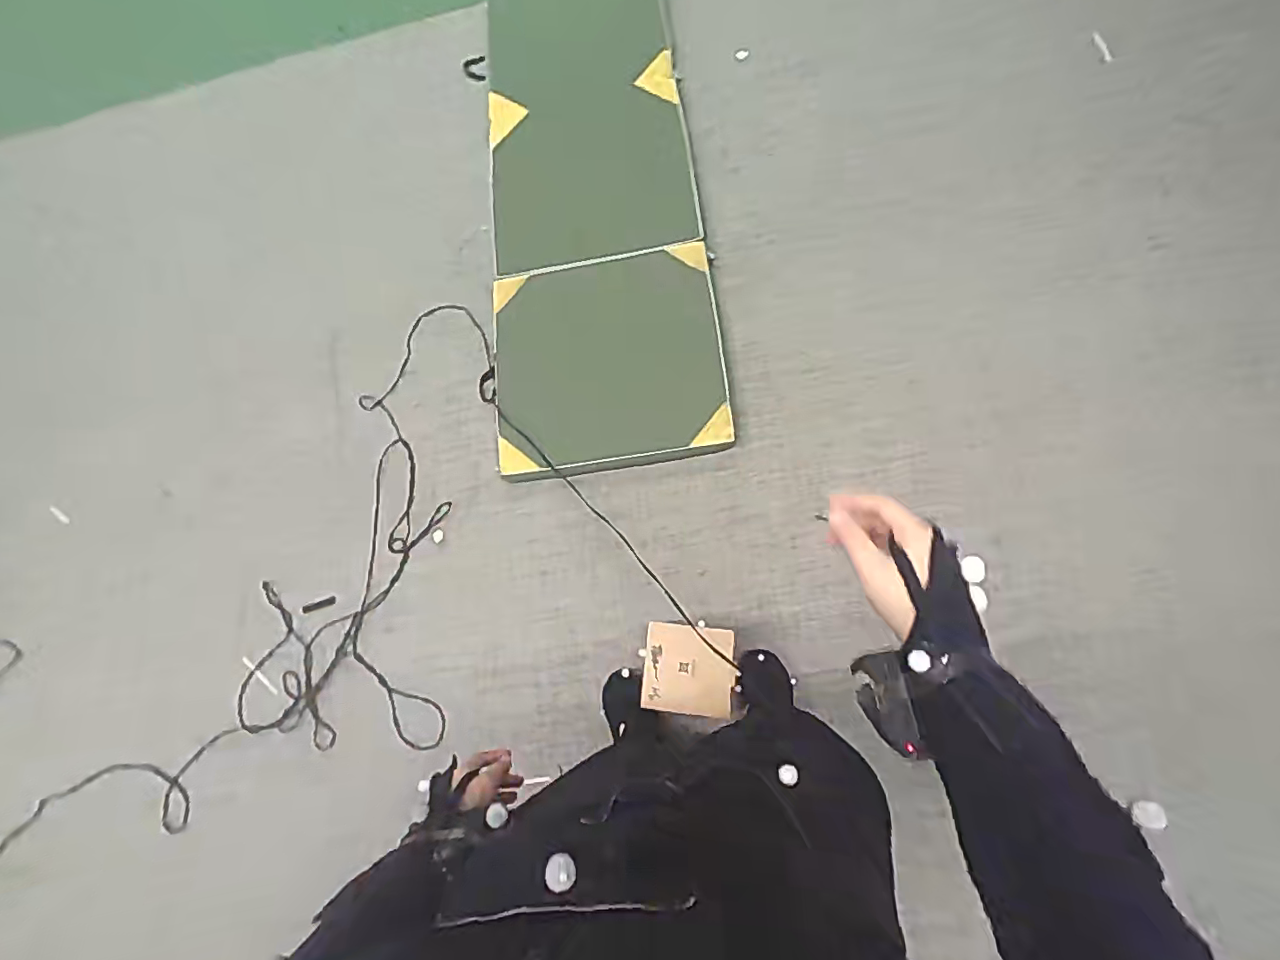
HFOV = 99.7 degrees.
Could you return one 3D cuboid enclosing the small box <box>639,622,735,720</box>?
[{"bbox_3d":[0.102,0.391,1.127,0.179,0.176,0.168,4,74,10],"label":"small box"}]
